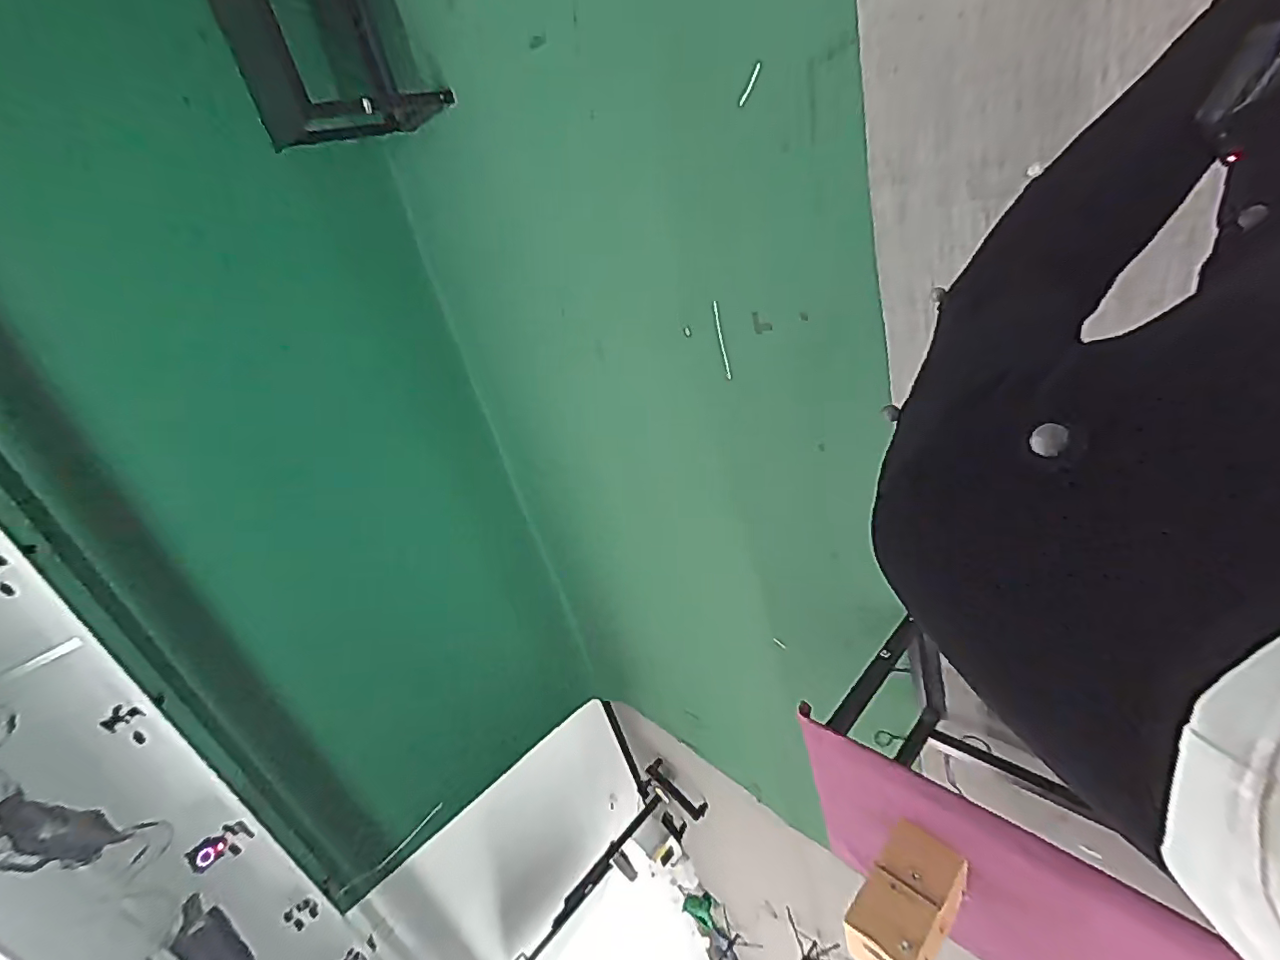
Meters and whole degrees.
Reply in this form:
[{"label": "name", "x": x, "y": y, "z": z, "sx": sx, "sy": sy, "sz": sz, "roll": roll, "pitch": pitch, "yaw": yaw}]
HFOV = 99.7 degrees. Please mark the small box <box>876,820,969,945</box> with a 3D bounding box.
[{"label": "small box", "x": 0.763, "y": 1.071, "z": 1.454, "sx": 0.179, "sy": 0.176, "sz": 0.168, "roll": 14, "pitch": 128, "yaw": 48}]
